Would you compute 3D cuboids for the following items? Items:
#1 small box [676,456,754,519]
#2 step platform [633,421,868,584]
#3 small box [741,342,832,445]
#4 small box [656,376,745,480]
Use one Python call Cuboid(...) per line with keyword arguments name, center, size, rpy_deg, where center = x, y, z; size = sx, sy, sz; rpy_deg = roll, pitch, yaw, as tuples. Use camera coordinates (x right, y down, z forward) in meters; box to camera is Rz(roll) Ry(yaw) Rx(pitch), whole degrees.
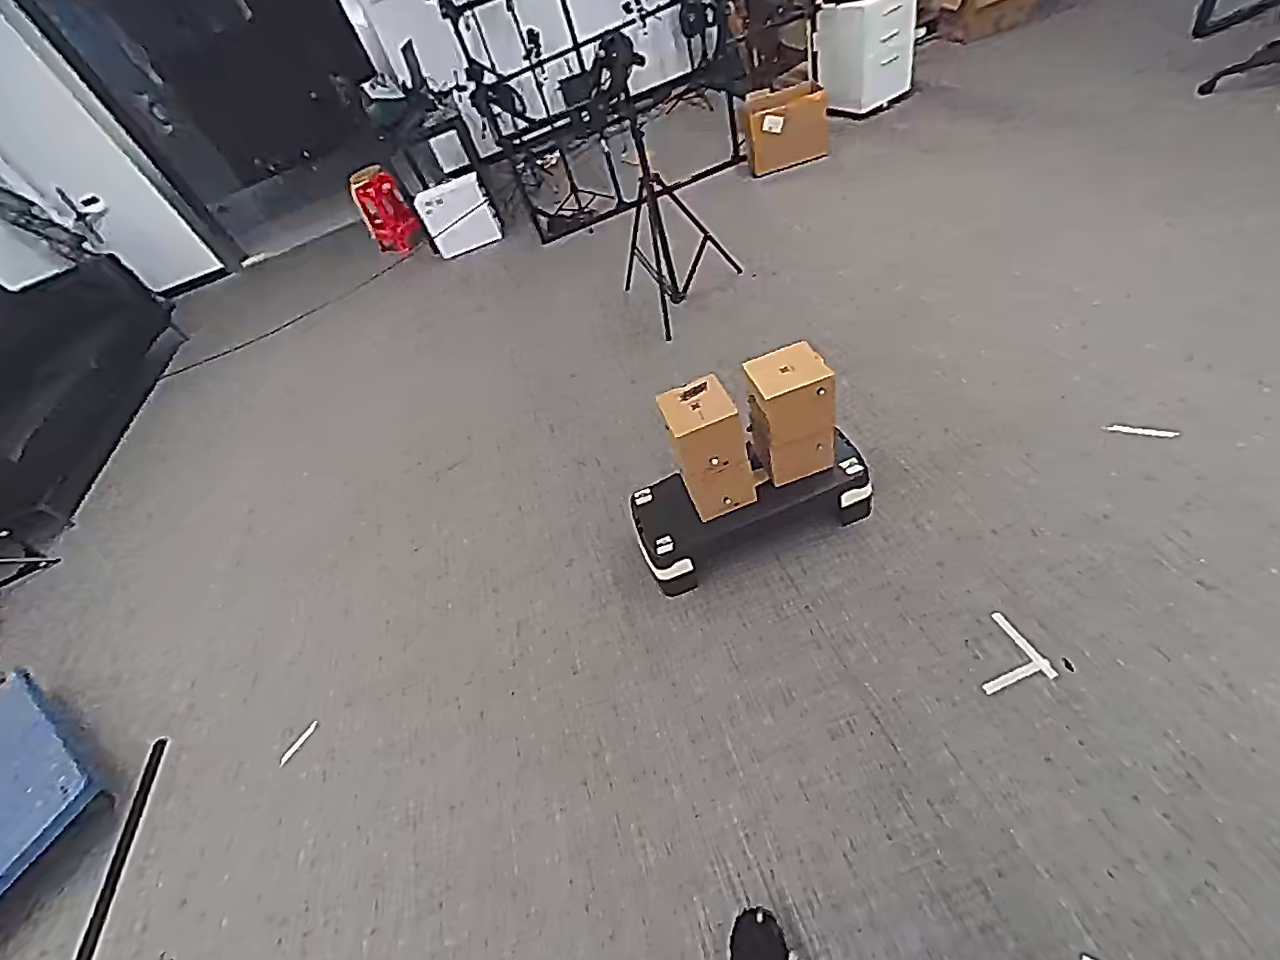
Cuboid(name="small box", center=(0.204, -0.022, 1.502), size=(0.168, 0.176, 0.179), rpy_deg=(-22, 45, 1))
Cuboid(name="step platform", center=(0.322, 0.047, 1.638), size=(0.684, 0.204, 0.286), rpy_deg=(-23, 45, 0))
Cuboid(name="small box", center=(0.378, -0.217, 1.385), size=(0.179, 0.176, 0.168), rpy_deg=(-21, 45, 1))
Cuboid(name="small box", center=(0.156, -0.131, 1.388), size=(0.168, 0.176, 0.179), rpy_deg=(-22, 45, 0))
